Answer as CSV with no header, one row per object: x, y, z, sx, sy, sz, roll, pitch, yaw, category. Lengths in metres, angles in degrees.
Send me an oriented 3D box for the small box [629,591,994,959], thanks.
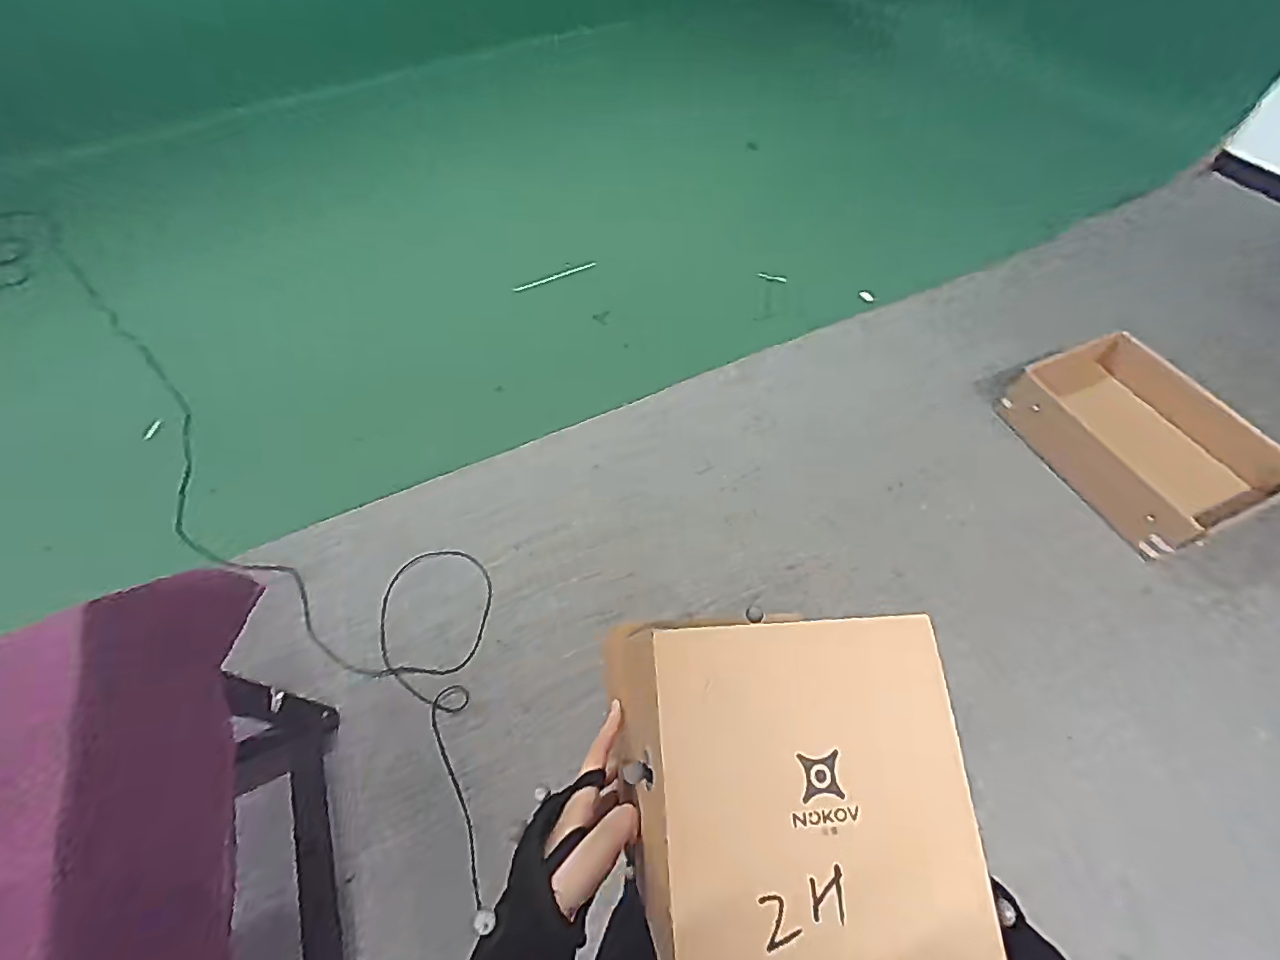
0.082,0.175,0.361,0.168,0.176,0.179,-1,72,-6,small box
